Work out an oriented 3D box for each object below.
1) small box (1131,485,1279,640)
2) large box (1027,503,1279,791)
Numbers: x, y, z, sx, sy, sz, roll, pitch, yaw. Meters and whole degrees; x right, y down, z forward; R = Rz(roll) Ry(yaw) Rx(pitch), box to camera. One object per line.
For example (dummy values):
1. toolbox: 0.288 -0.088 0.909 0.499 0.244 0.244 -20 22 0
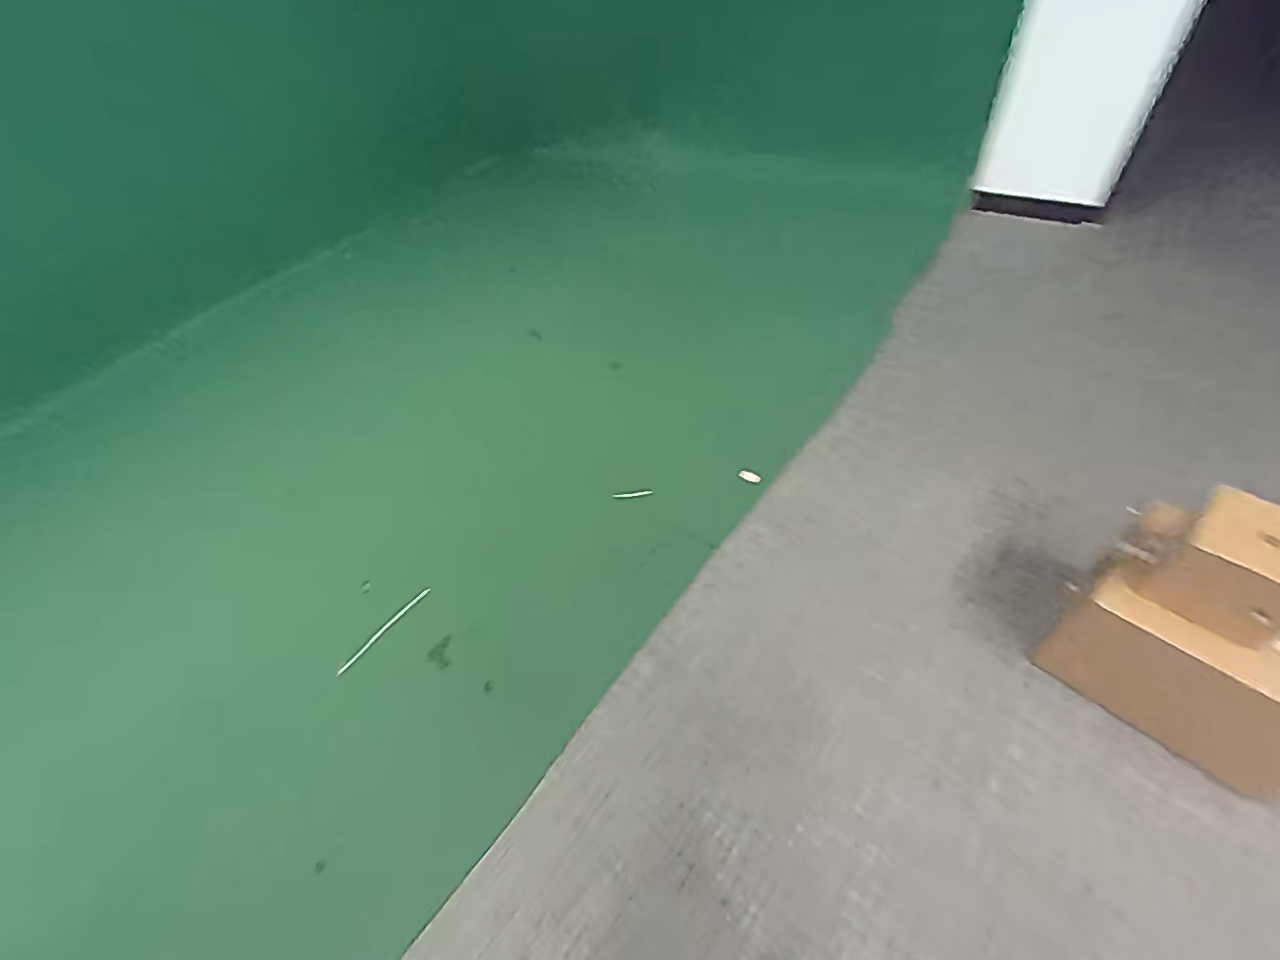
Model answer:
1. small box: 1.010 0.147 0.926 0.179 0.176 0.168 33 63 32
2. large box: 1.103 0.323 1.081 0.408 0.320 0.320 35 66 31
